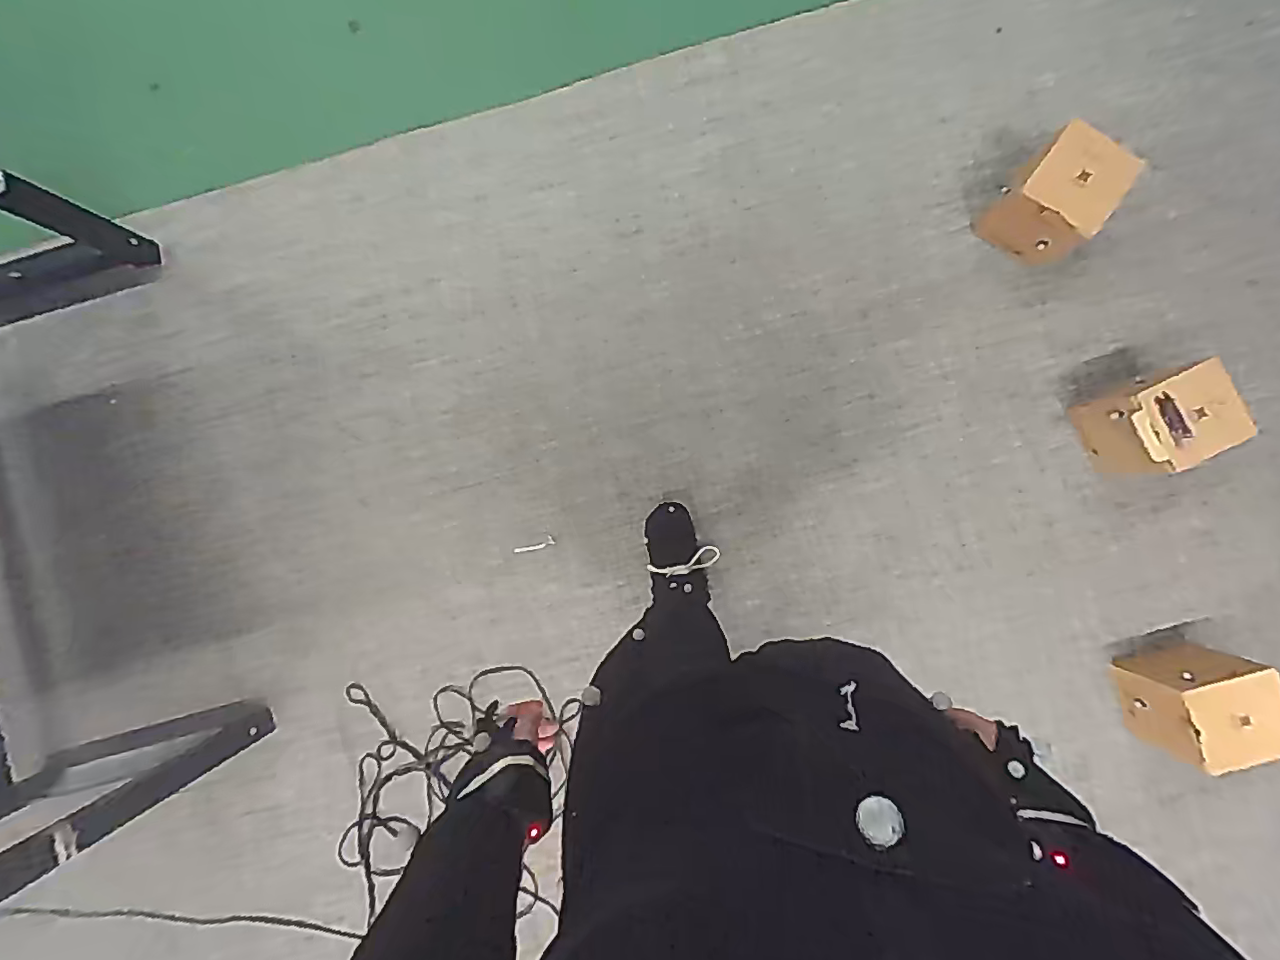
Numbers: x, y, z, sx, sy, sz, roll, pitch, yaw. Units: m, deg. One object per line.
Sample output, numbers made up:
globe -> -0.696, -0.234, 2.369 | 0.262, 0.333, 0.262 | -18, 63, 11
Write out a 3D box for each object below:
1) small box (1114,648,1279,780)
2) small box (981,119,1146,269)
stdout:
small box -> 1.110, 0.451, 1.071 | 0.179, 0.176, 0.168 | -16, 89, 3
small box -> 0.843, -0.567, 1.102 | 0.168, 0.176, 0.179 | 36, 90, 2
